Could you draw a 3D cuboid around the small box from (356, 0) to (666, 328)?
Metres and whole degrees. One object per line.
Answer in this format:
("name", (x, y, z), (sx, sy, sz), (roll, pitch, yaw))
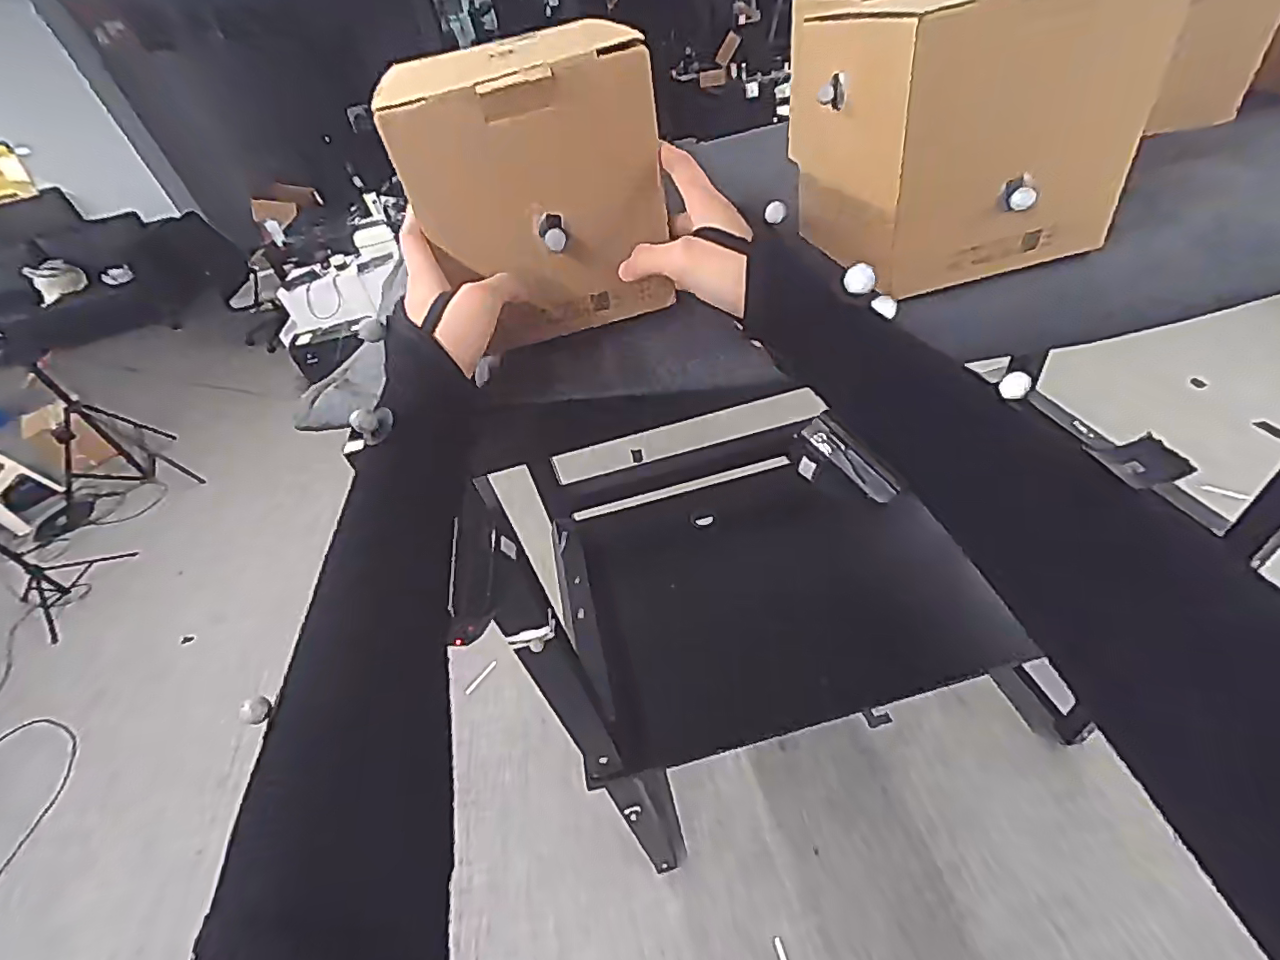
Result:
("small box", (-0.085, -0.234, 0.413), (0.168, 0.176, 0.179), (-17, 47, -4))

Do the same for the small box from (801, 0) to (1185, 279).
("small box", (0.228, -0.272, 0.403), (0.168, 0.176, 0.179), (-15, 41, 0))
